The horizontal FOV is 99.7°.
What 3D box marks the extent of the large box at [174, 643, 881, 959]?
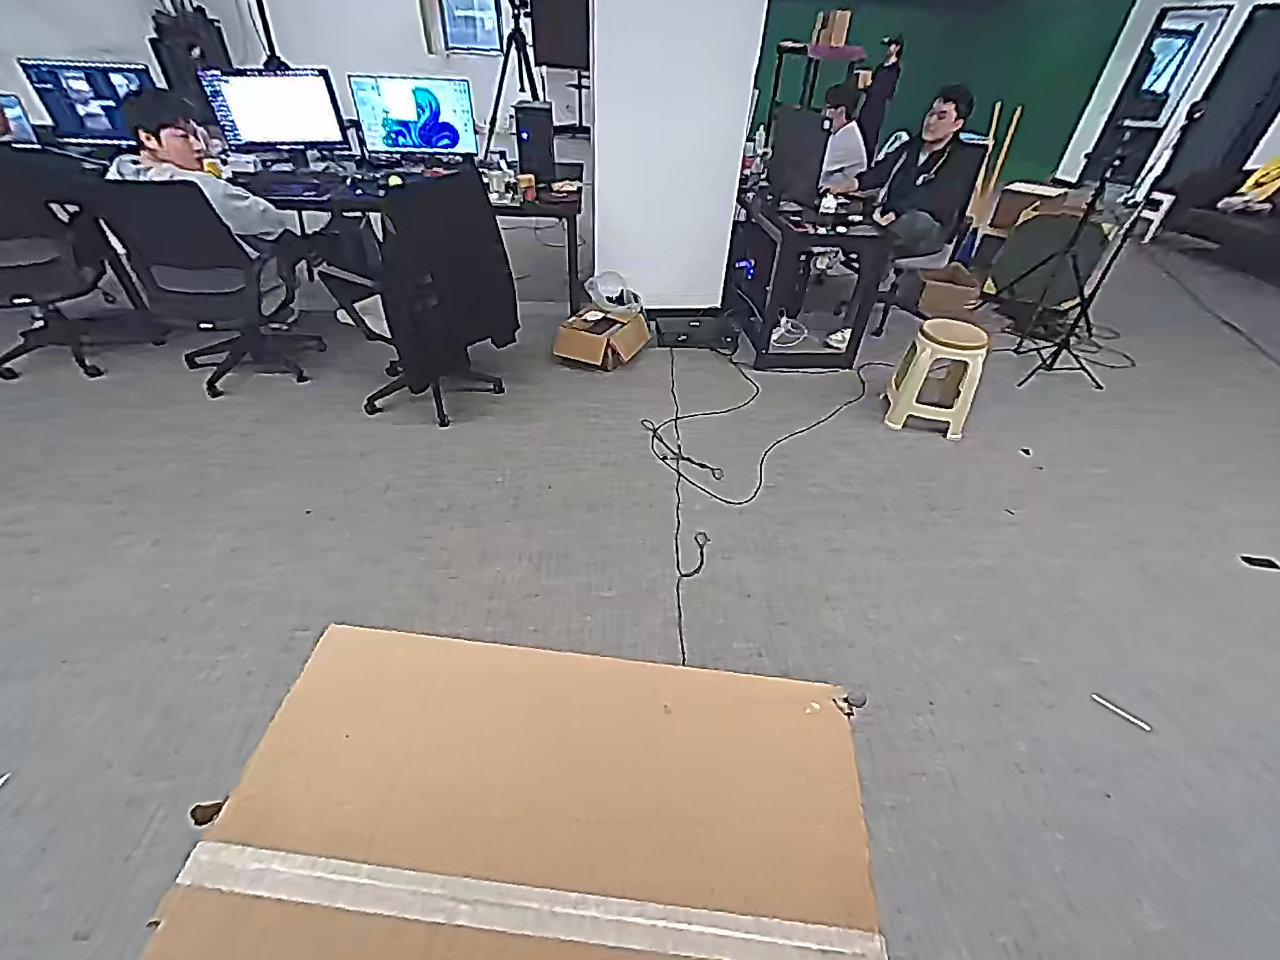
[{"bbox_3d":[-0.065,0.360,0.428,0.408,0.320,0.320,6,47,2],"label":"large box"}]
